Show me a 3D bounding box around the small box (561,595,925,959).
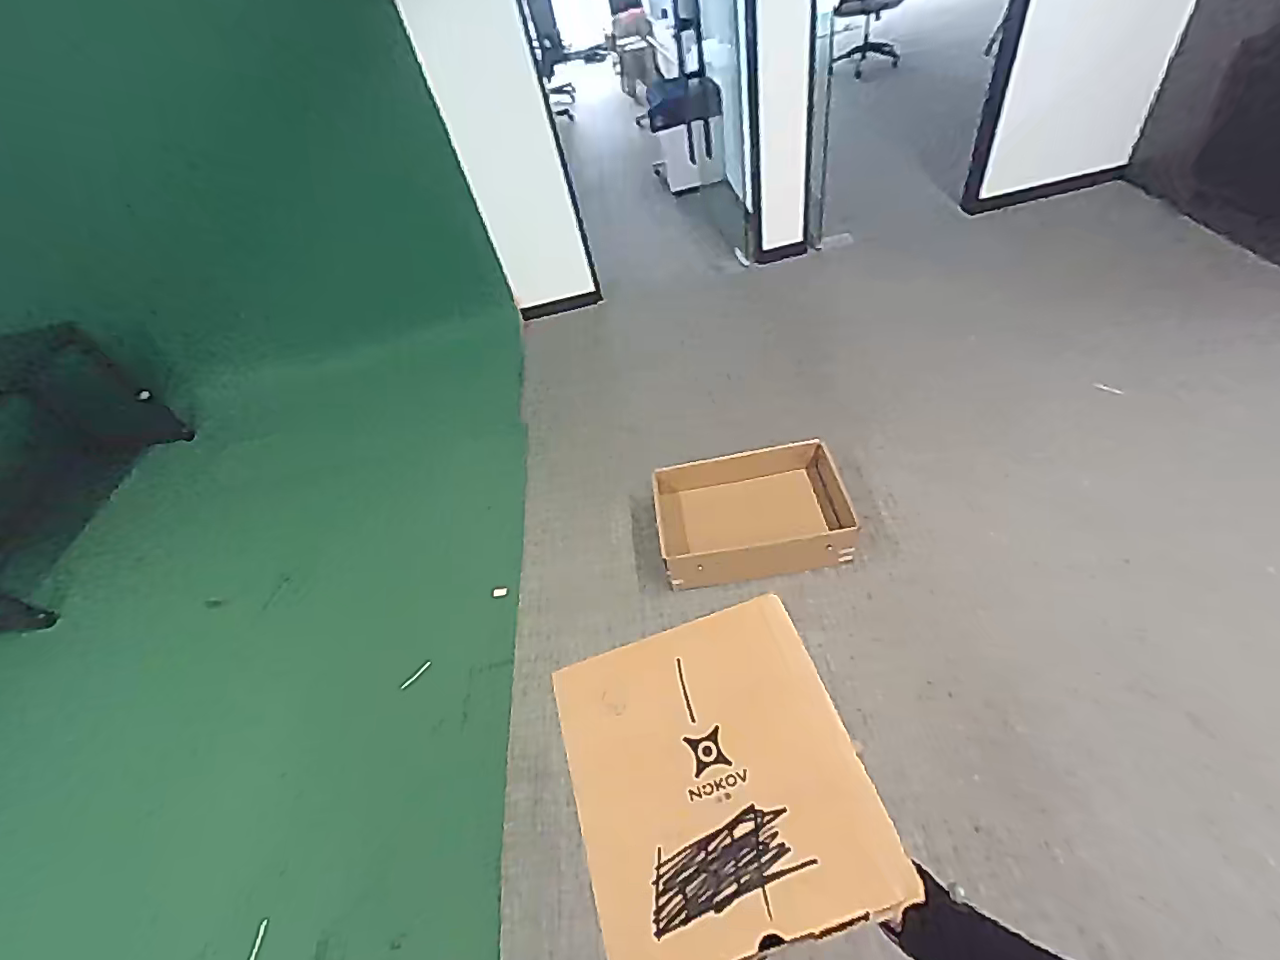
[{"bbox_3d":[0.059,0.212,0.380,0.168,0.176,0.179,-18,53,-2],"label":"small box"}]
